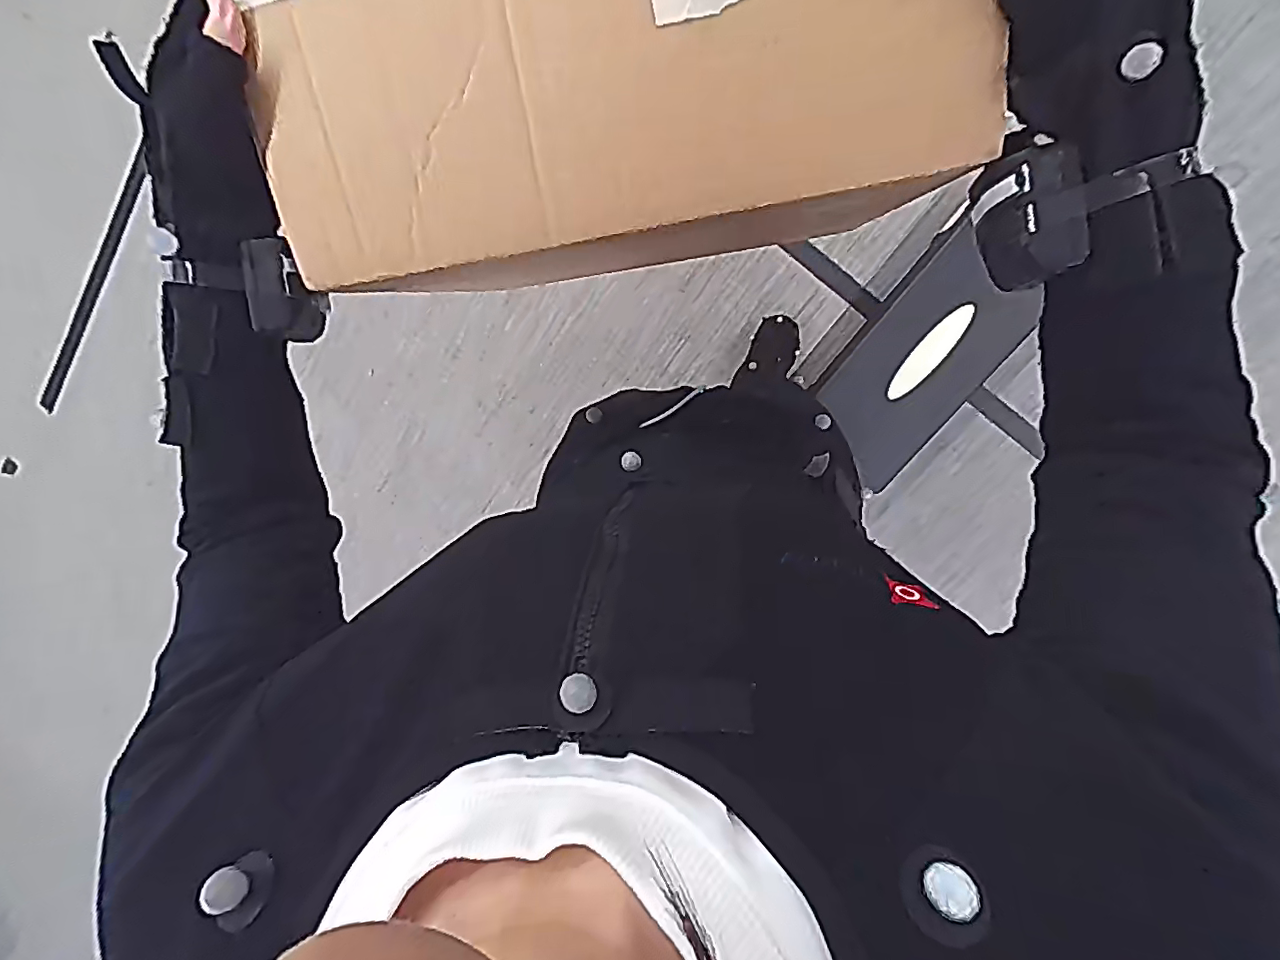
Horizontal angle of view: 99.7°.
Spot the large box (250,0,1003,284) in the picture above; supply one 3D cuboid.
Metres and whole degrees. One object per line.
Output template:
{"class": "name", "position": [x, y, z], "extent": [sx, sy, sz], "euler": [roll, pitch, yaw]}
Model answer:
{"class": "large box", "position": [-0.013, -0.349, 0.413], "extent": [0.408, 0.320, 0.320], "euler": [-7, 109, 10]}
